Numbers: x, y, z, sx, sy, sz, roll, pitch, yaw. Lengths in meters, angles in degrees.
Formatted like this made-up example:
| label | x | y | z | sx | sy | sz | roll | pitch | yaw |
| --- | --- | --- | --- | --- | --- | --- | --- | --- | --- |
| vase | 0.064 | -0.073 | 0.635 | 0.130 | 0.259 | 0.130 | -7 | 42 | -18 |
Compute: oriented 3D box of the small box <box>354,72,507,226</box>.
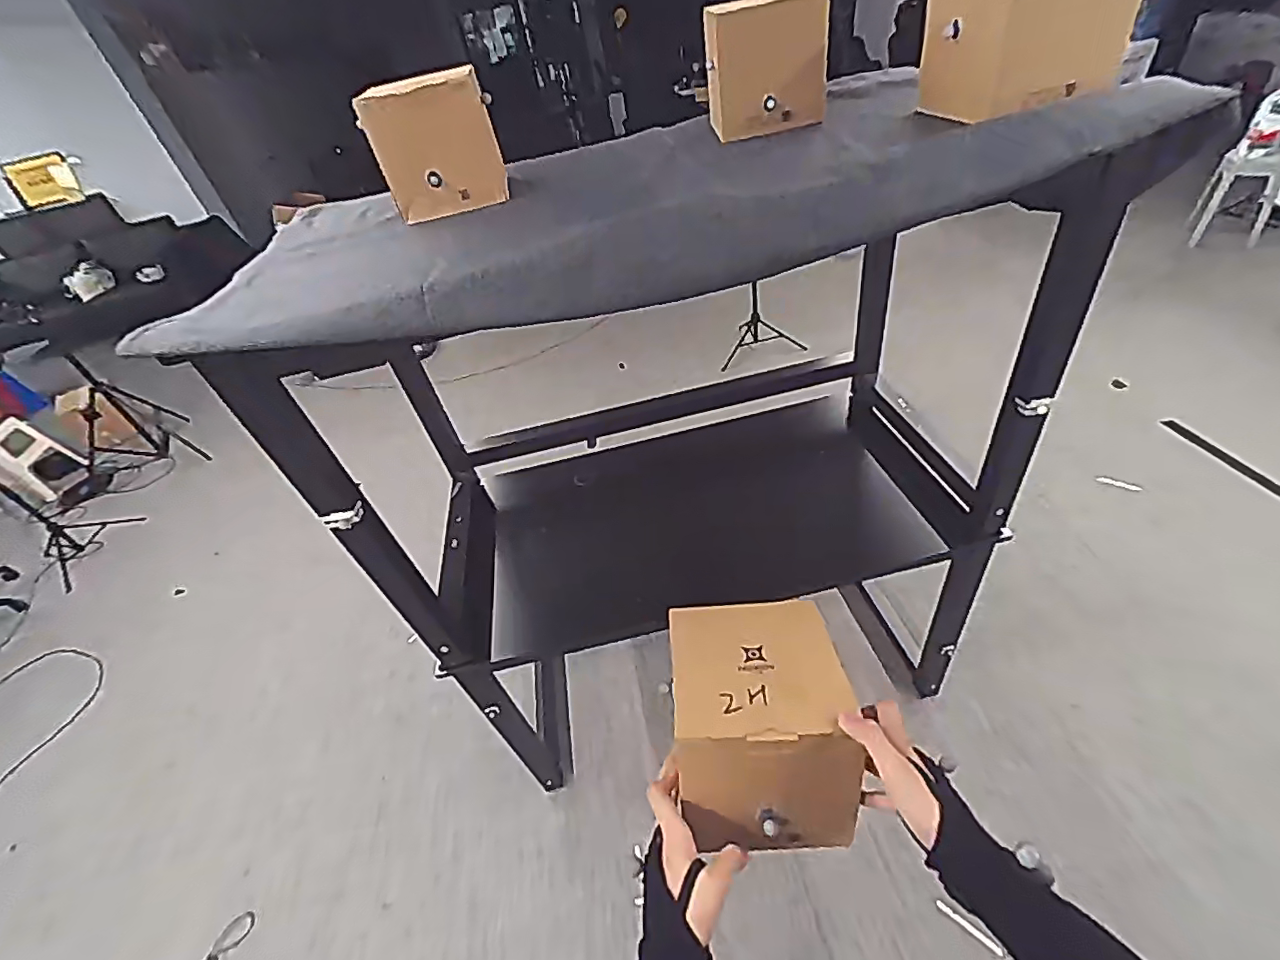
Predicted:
| label | x | y | z | sx | sy | sz | roll | pitch | yaw |
| --- | --- | --- | --- | --- | --- | --- | --- | --- | --- |
| small box | -0.317 | -0.524 | 0.858 | 0.168 | 0.176 | 0.179 | -15 | 42 | -2 |

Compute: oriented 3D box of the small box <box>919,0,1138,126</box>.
| label | x | y | z | sx | sy | sz | roll | pitch | yaw |
| --- | --- | --- | --- | --- | --- | --- | --- | --- | --- |
| small box | 0.488 | -0.575 | 0.697 | 0.168 | 0.176 | 0.179 | -14 | 40 | 1 |
